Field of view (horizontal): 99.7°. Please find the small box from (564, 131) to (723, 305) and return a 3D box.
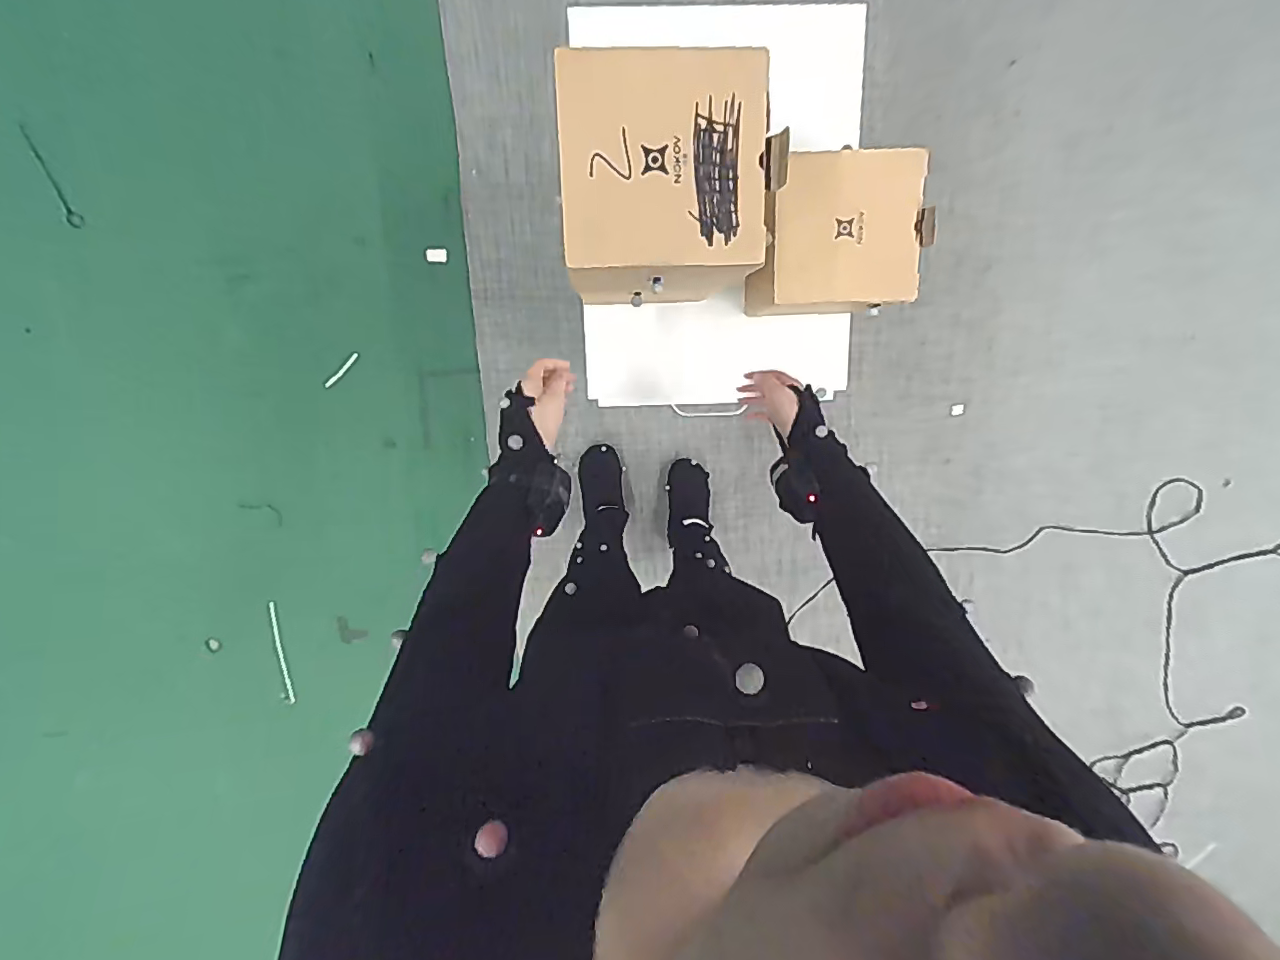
[{"bbox_3d":[0.003,-0.317,0.685,0.179,0.176,0.168,-3,103,-3],"label":"small box"}]
